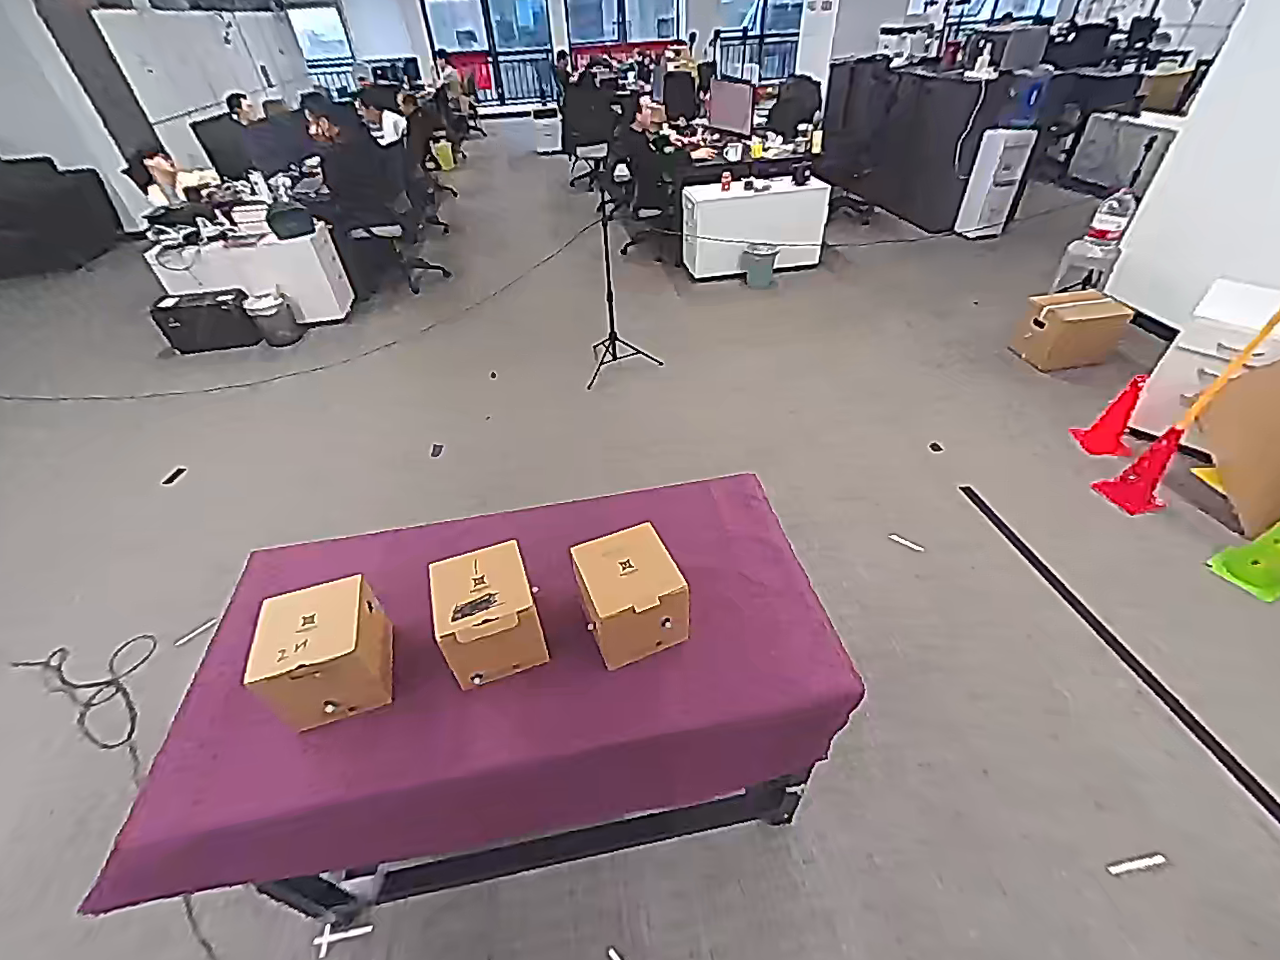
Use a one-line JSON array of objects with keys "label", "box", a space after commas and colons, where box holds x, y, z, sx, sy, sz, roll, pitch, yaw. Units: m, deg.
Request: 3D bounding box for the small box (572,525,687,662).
[{"label": "small box", "box": [-0.018, 0.222, 1.031, 0.168, 0.176, 0.179, -16, 42, -15]}]

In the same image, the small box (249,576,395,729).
[{"label": "small box", "box": [-0.552, 0.306, 0.966, 0.168, 0.176, 0.179, -14, 42, -12]}]

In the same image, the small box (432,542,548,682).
[{"label": "small box", "box": [-0.278, 0.251, 1.012, 0.168, 0.176, 0.179, -15, 41, -14]}]
